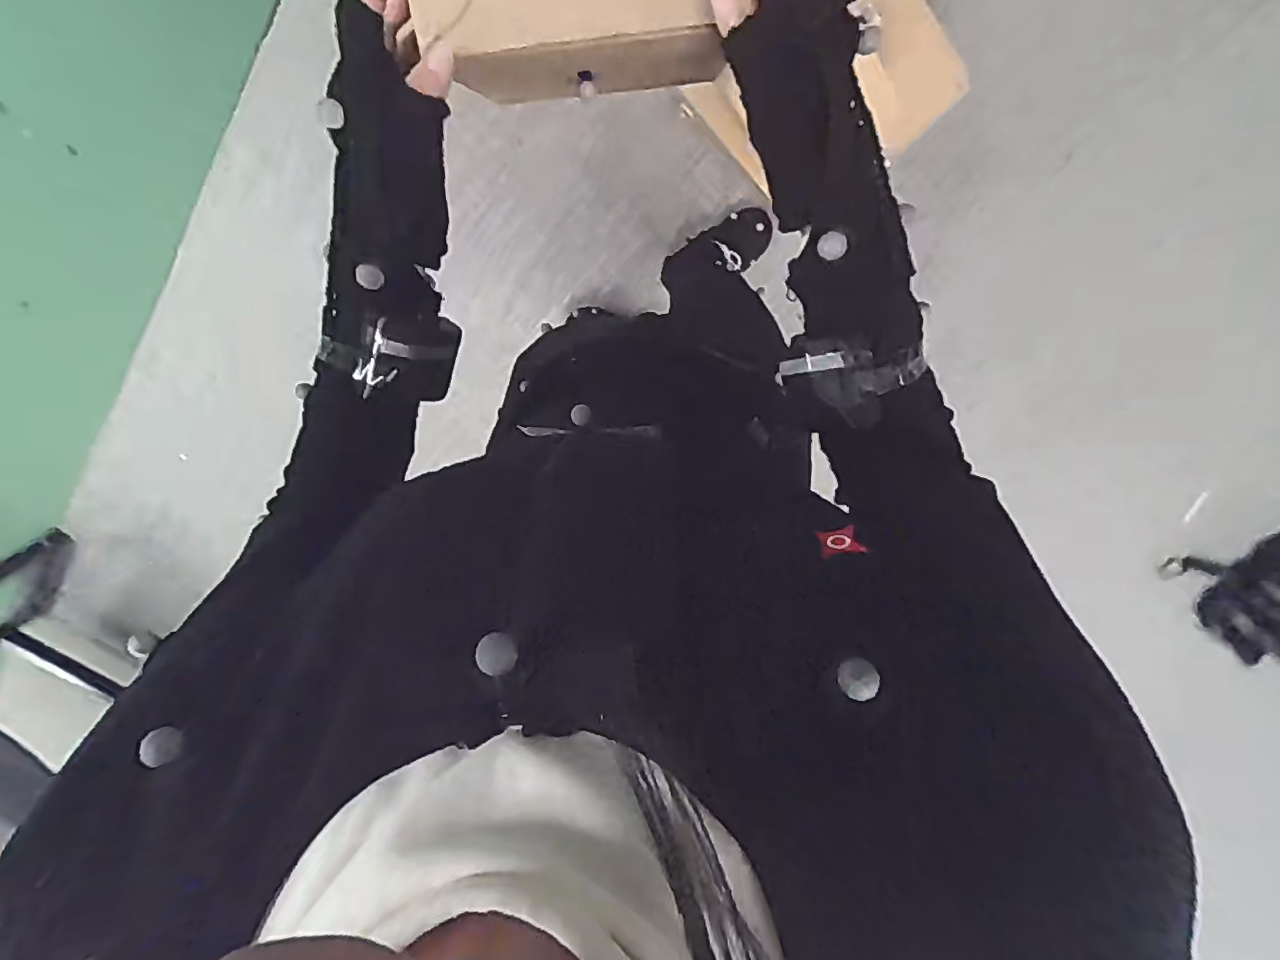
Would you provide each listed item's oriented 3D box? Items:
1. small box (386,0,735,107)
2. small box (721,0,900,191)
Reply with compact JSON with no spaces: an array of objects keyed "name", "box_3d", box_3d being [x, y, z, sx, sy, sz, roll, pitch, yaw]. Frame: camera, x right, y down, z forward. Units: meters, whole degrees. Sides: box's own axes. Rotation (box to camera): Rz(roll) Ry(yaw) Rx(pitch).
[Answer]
[{"name":"small box","box_3d":[-0.046,-0.329,0.311,0.179,0.176,0.168,-5,120,5]},{"name":"small box","box_3d":[0.227,-0.543,0.763,0.168,0.176,0.179,-33,113,25]}]
